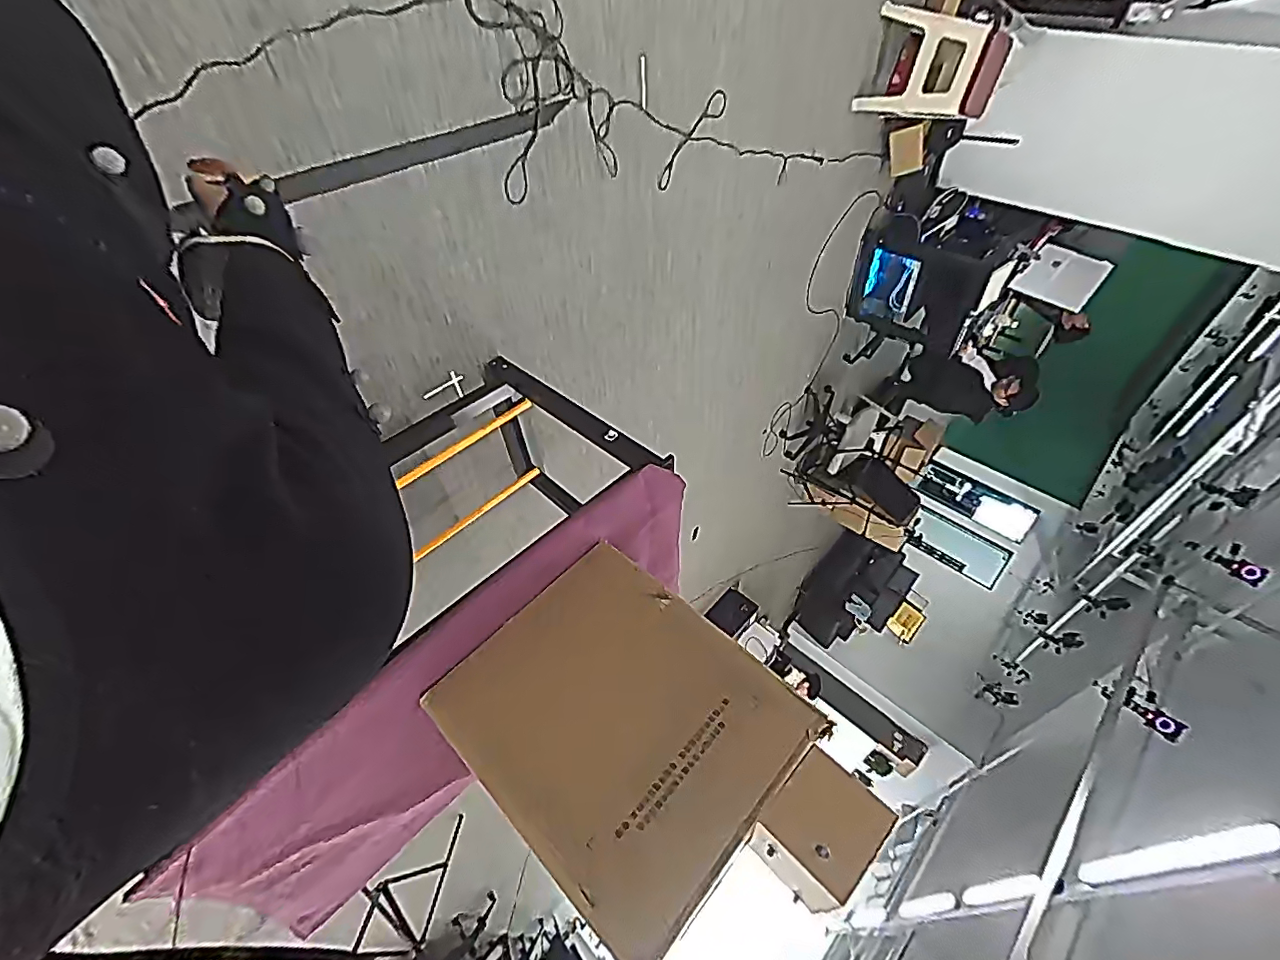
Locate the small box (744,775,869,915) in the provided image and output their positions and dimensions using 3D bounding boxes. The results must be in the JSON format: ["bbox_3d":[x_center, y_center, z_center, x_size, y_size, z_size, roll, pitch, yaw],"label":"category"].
[{"bbox_3d":[0.332,0.746,1.113,0.168,0.176,0.179,-39,147,-26],"label":"small box"}]
